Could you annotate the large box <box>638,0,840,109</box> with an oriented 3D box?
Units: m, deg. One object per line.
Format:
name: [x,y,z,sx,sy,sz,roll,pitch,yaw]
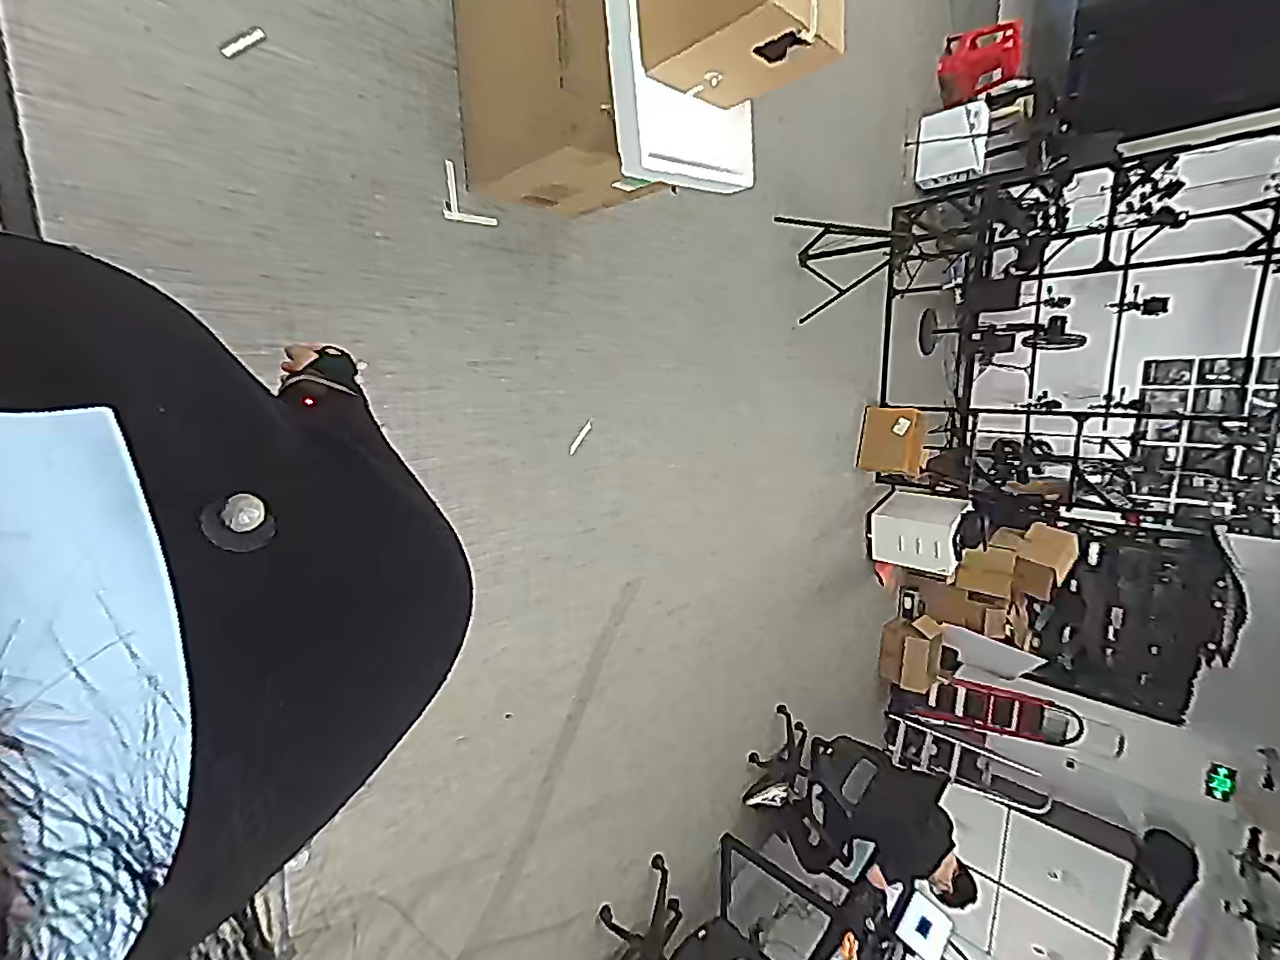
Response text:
large box: [0.197,-1.068,1.108,0.320,0.320,0.408,-18,108,-45]
